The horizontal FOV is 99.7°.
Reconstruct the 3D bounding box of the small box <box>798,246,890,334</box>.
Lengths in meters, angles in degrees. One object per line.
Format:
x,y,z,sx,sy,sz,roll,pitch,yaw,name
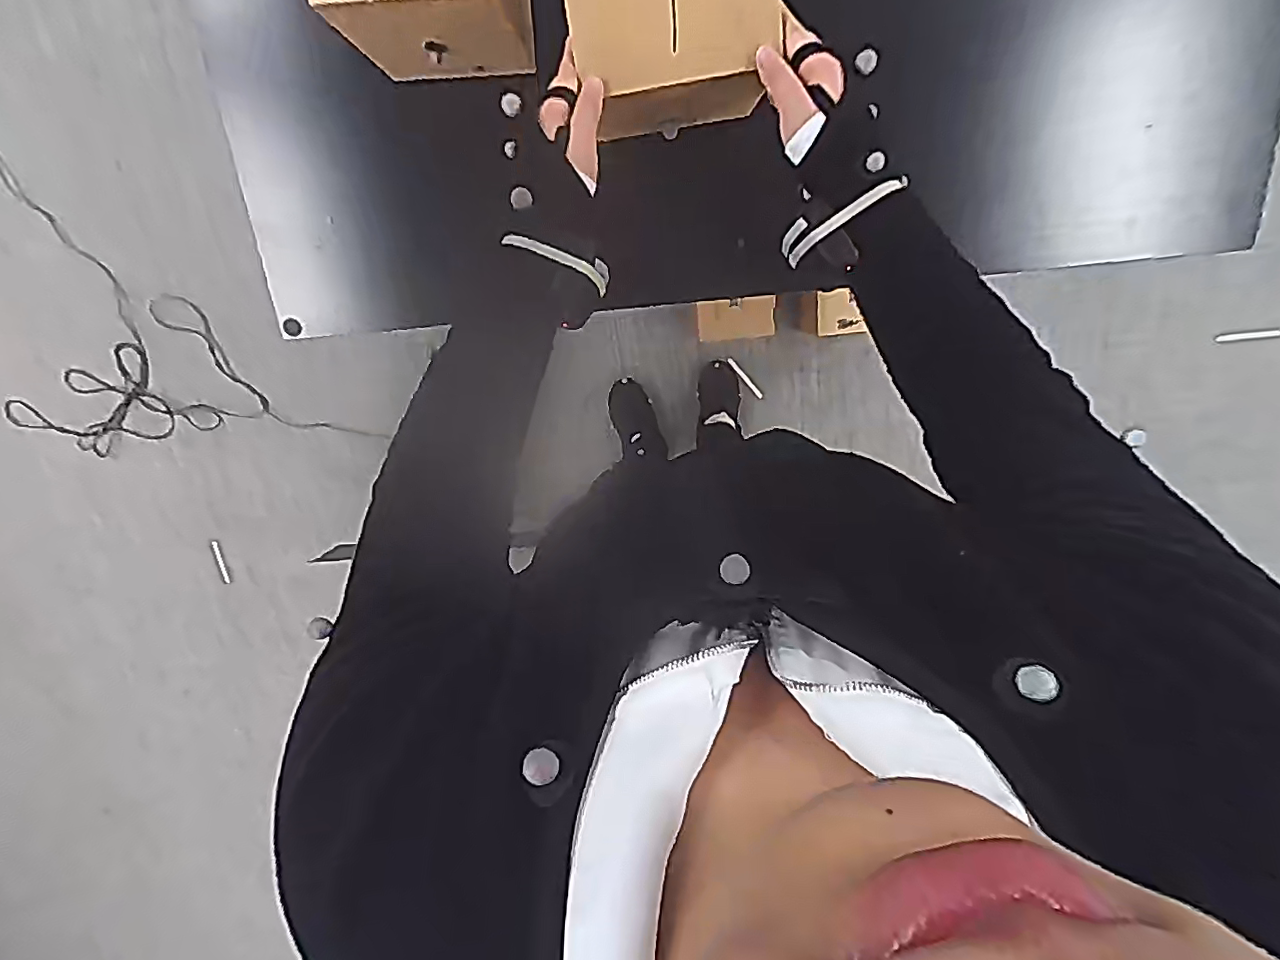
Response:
0.477,-0.444,1.284,0.168,0.176,0.179,-5,107,4,small box

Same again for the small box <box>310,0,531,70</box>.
-0.205,-0.518,0.512,0.168,0.176,0.179,-2,107,1,small box

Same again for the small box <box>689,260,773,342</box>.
0.215,-0.427,1.298,0.179,0.176,0.168,-5,107,4,small box

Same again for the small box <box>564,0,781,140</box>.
0.020,-0.425,0.472,0.168,0.176,0.179,-7,112,5,small box
